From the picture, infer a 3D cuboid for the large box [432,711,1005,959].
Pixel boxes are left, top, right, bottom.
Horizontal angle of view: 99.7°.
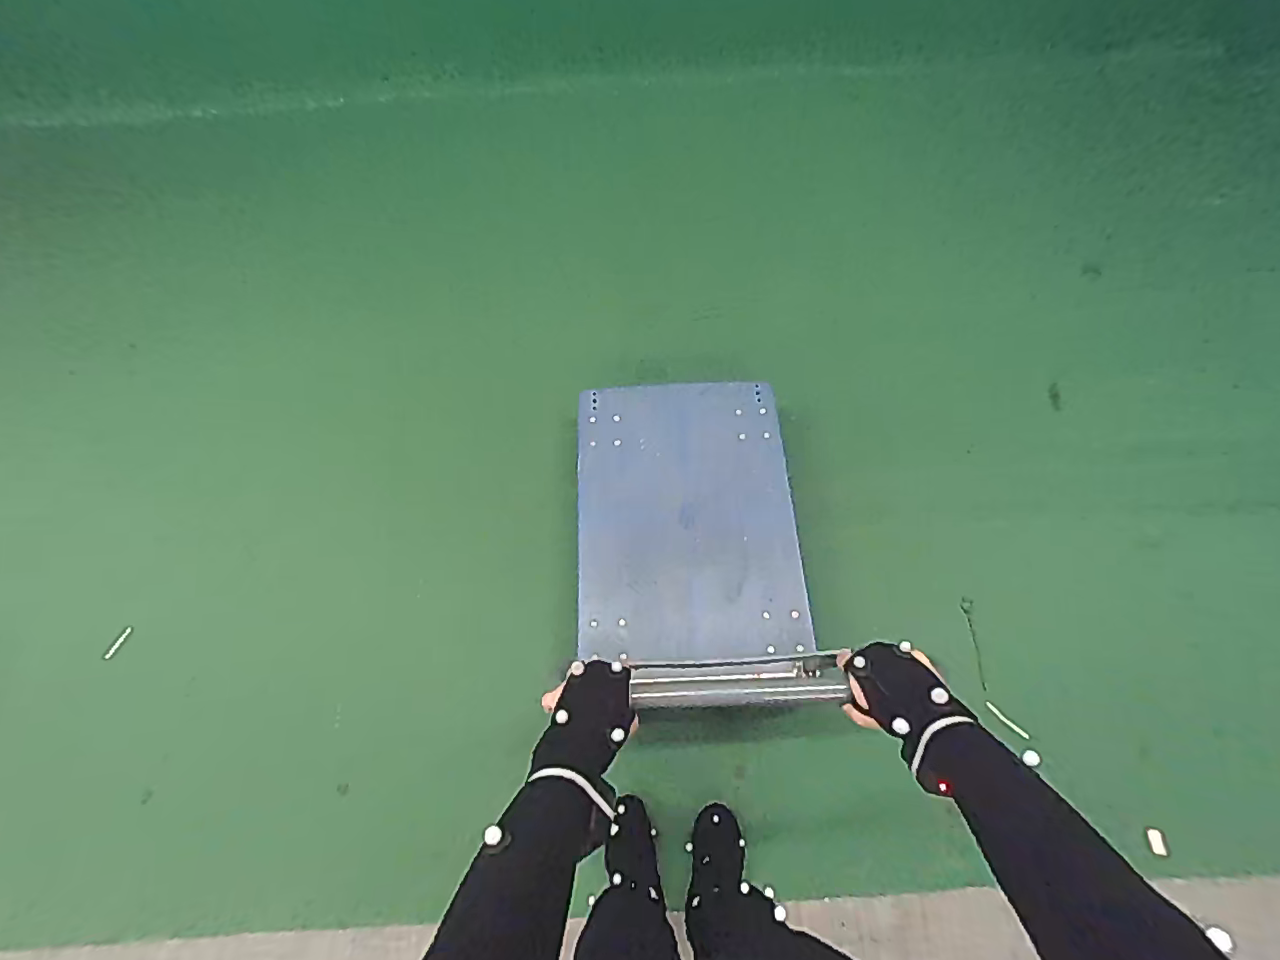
[{"bbox_3d":[0.049,0.352,0.114,0.408,0.320,0.320,33,107,6],"label":"large box"}]
